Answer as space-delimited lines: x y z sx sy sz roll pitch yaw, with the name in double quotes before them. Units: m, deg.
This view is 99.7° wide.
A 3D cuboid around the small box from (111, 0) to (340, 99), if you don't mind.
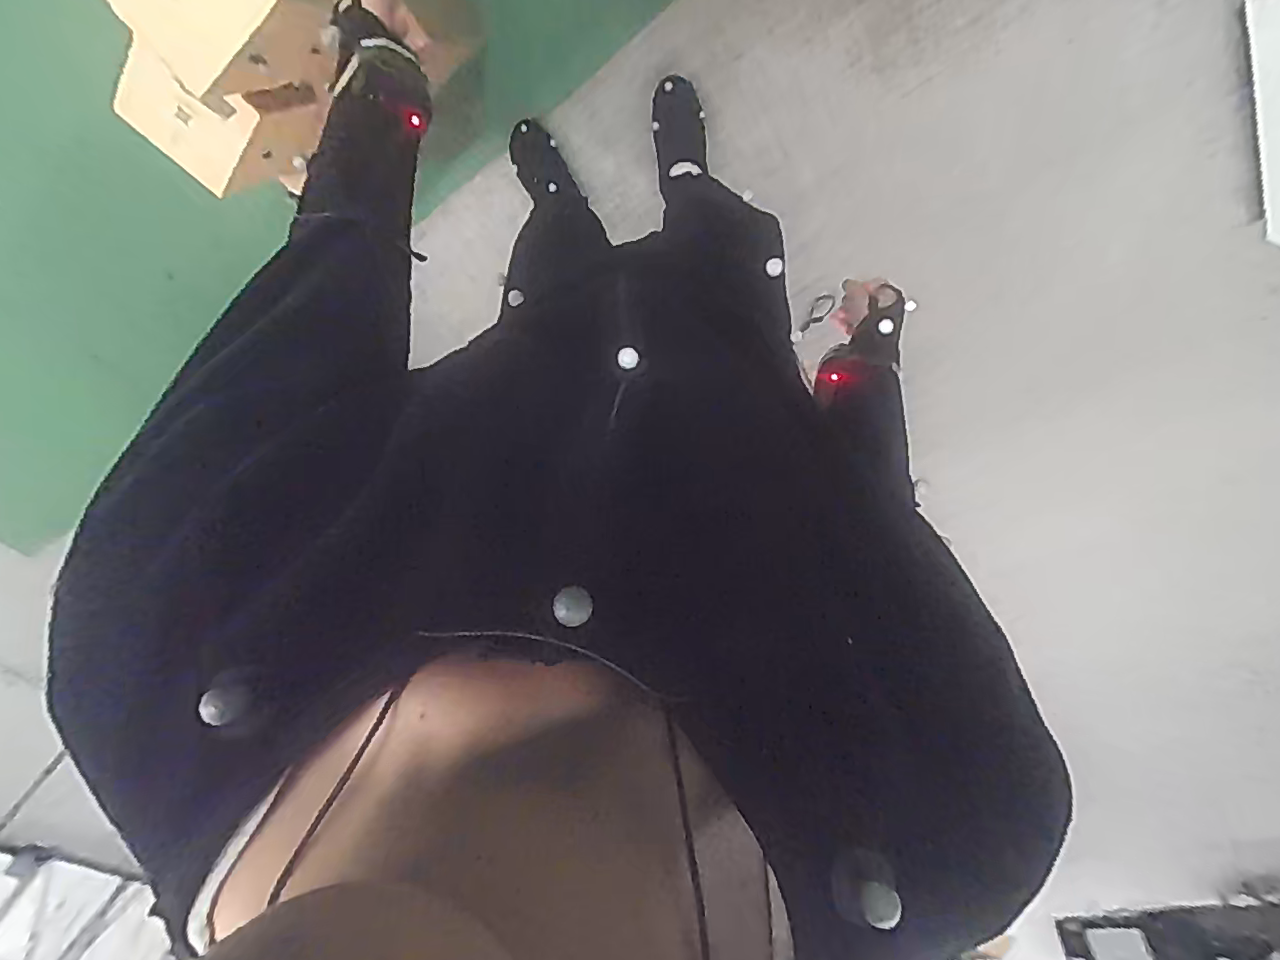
"small box" -0.495 -0.600 0.640 0.179 0.176 0.168 -22 125 24
